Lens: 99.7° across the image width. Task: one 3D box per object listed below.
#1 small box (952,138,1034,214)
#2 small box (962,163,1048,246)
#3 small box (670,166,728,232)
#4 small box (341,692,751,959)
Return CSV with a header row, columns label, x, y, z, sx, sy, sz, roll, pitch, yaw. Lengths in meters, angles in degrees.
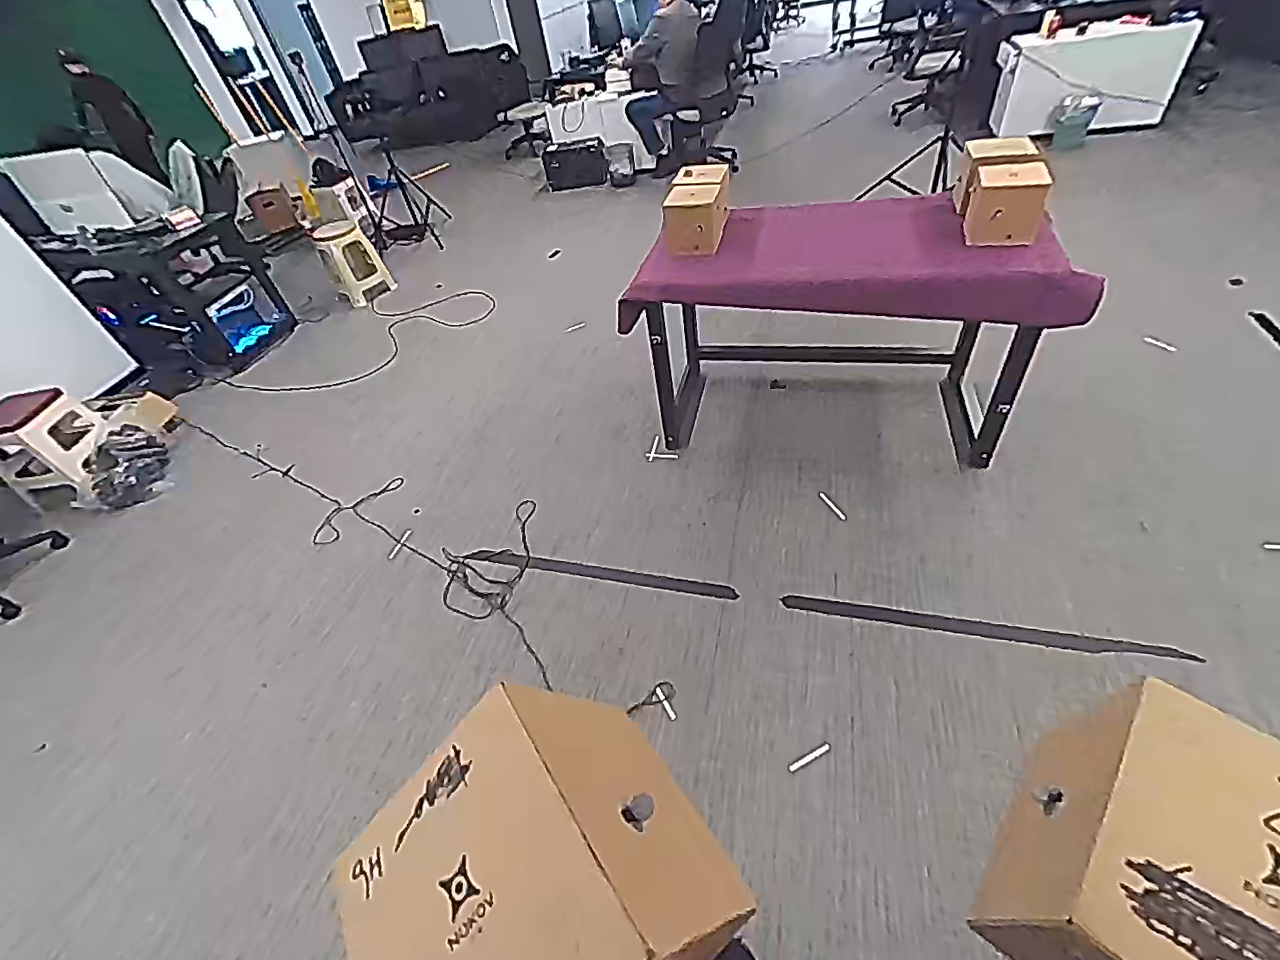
label,x,y,z,sx,sy,sz,roll,pitch,yaw
small box,1.105,-0.957,1.709,0.179,0.176,0.168,6,48,17
small box,1.049,-0.794,1.567,0.168,0.176,0.179,8,47,20
small box,0.218,-1.015,1.957,0.179,0.176,0.168,7,49,17
small box,-0.053,0.273,0.363,0.168,0.176,0.179,-48,51,-2
